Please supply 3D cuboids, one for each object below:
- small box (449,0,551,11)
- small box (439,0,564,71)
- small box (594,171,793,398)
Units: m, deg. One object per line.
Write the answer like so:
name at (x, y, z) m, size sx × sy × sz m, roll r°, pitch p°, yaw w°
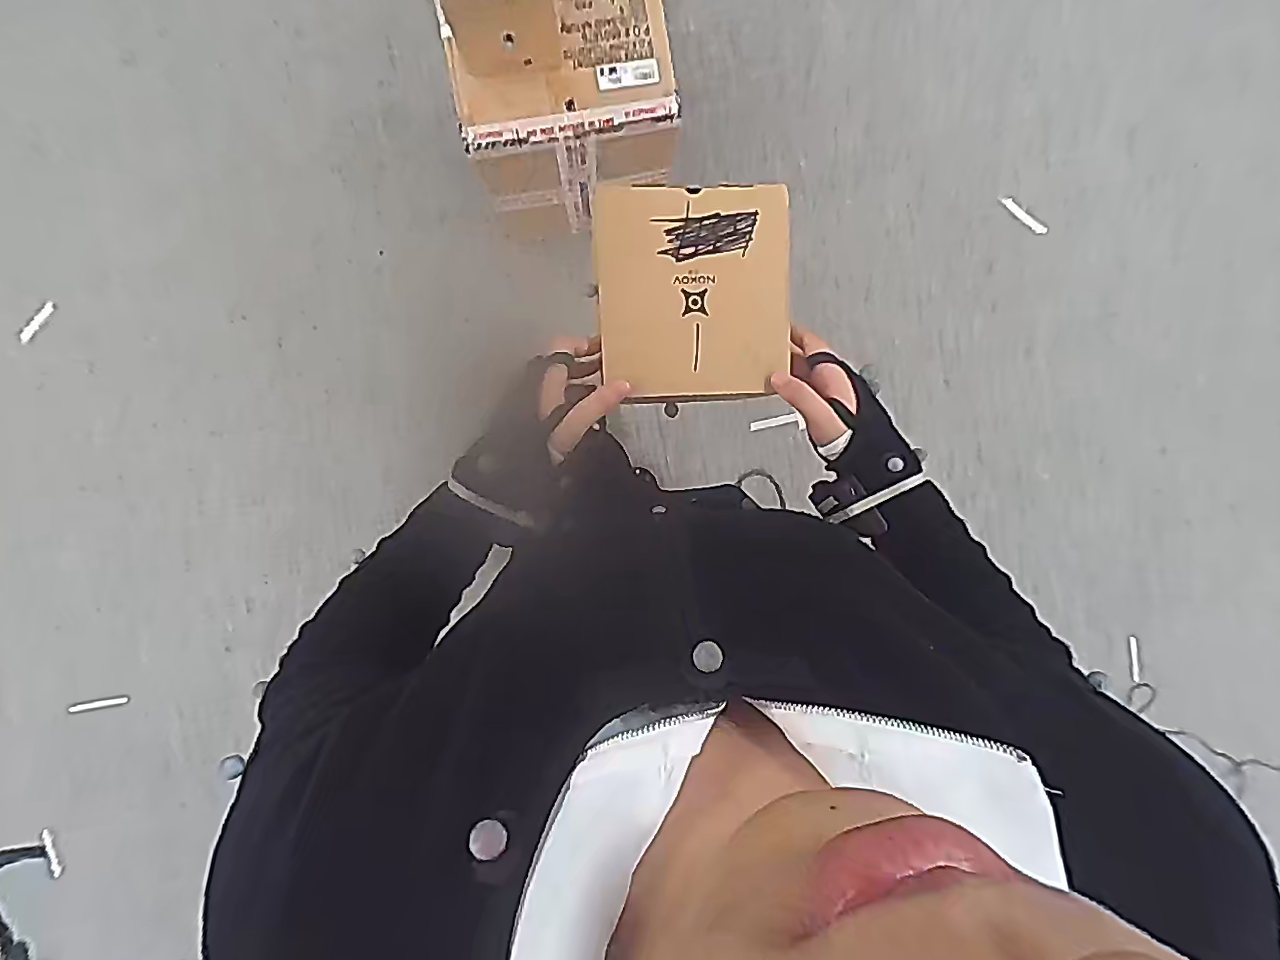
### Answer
small box at (-0.201, -0.749, 0.678) m, size 0.168 × 0.176 × 0.179 m, roll -7°, pitch 98°, yaw 1°
small box at (-0.216, -0.774, 0.839) m, size 0.168 × 0.176 × 0.179 m, roll -7°, pitch 98°, yaw -1°
small box at (0.041, -0.175, 0.534) m, size 0.168 × 0.176 × 0.179 m, roll -2°, pitch 96°, yaw -5°
